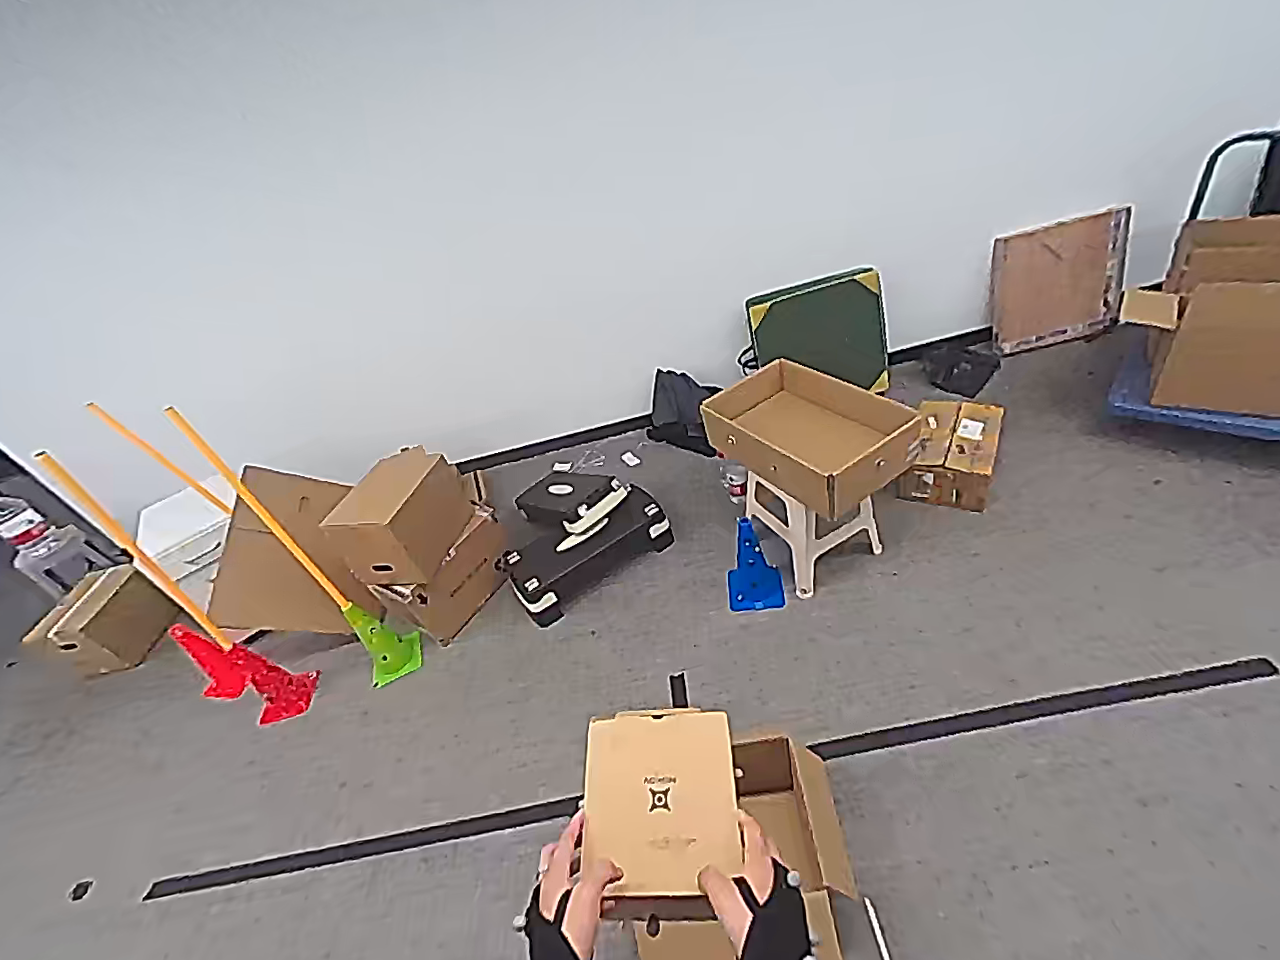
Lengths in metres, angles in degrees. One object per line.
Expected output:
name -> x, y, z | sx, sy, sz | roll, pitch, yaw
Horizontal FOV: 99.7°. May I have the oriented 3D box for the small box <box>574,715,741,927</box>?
small box -> 0.024, 0.401, 0.638 | 0.168, 0.176, 0.179 | -4, 43, 4
